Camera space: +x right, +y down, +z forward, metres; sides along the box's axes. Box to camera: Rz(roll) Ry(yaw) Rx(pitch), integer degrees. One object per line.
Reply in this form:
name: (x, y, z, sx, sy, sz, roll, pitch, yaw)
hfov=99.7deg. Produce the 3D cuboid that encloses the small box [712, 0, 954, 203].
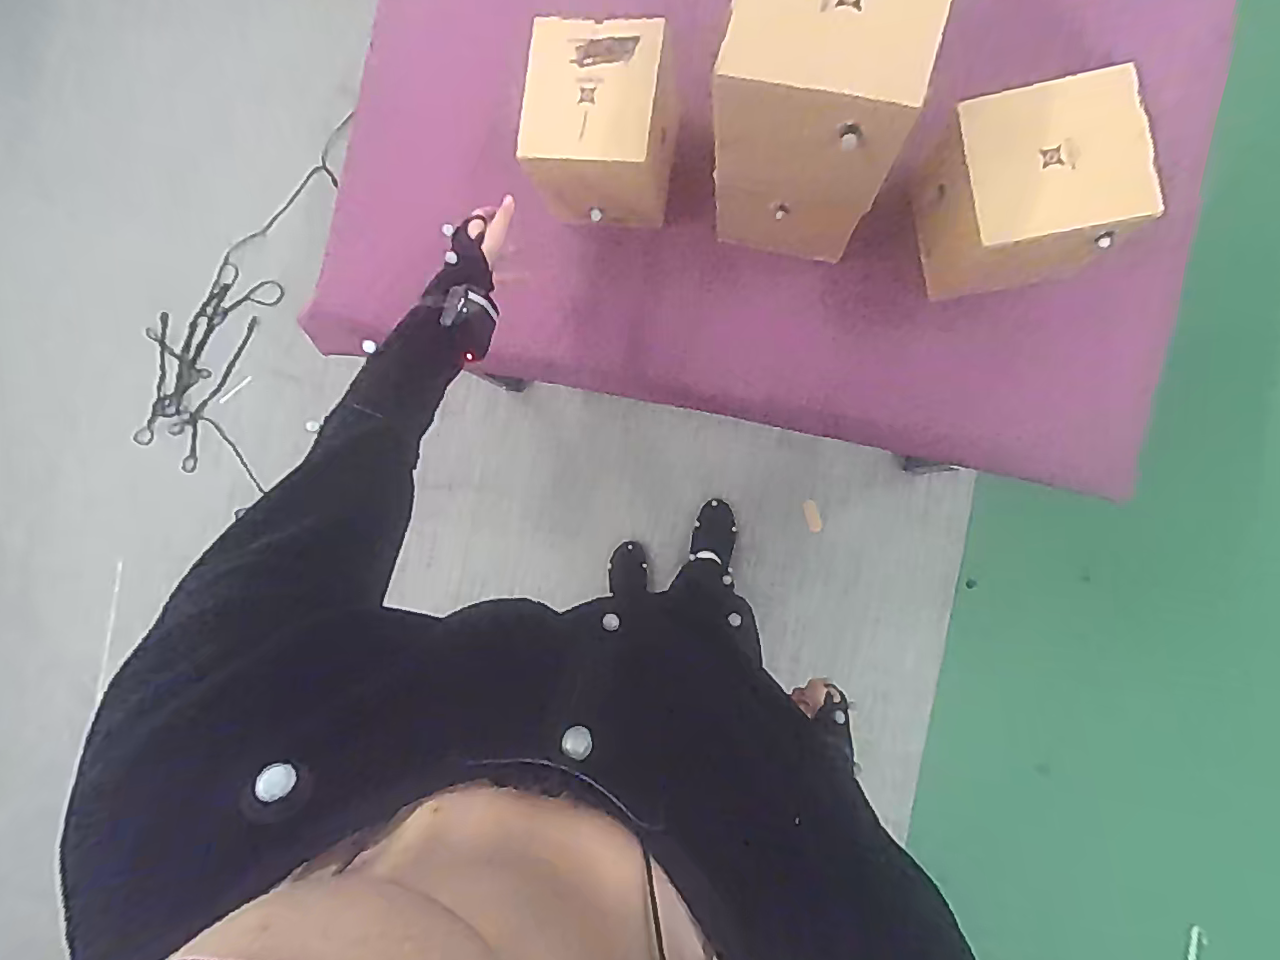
small box: (0.176, -0.396, 0.518, 0.179, 0.176, 0.168, 17, 91, 9)

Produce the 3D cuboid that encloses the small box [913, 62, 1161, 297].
small box: (0.444, -0.335, 0.642, 0.179, 0.176, 0.168, -8, 87, 8)

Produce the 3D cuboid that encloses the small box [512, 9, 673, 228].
small box: (-0.051, -0.467, 0.719, 0.168, 0.176, 0.179, 9, 91, 9)
